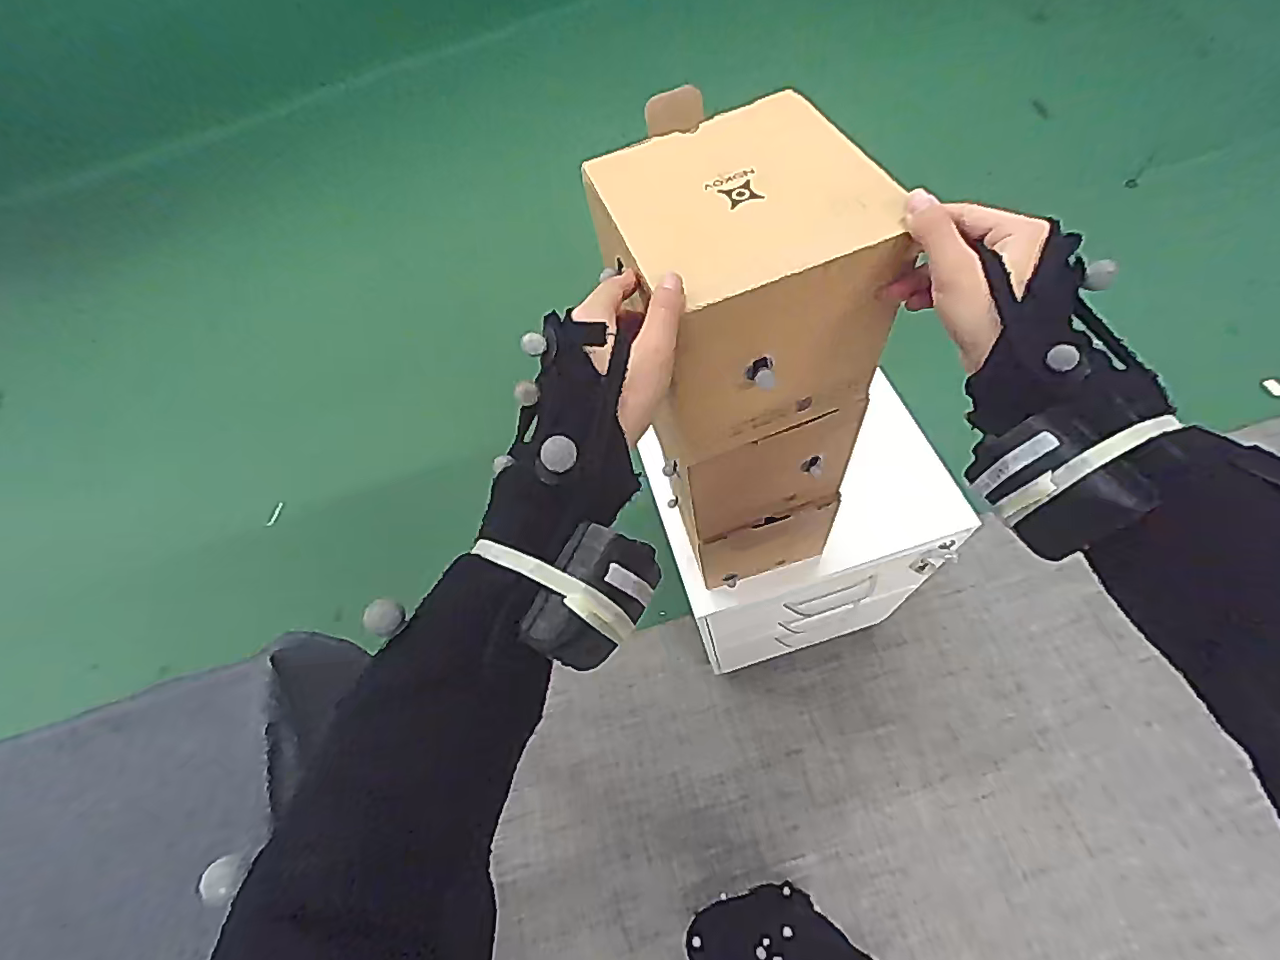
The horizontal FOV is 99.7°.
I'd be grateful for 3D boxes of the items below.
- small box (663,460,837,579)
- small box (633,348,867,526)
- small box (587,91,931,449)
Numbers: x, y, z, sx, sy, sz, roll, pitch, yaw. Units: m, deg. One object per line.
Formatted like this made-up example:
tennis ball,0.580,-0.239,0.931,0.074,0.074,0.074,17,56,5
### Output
small box,0.130,0.013,0.693,0.168,0.176,0.179,-17,60,0
small box,0.101,-0.070,0.556,0.168,0.176,0.179,-19,59,-3
small box,0.077,-0.145,0.415,0.168,0.176,0.179,-21,60,-3
